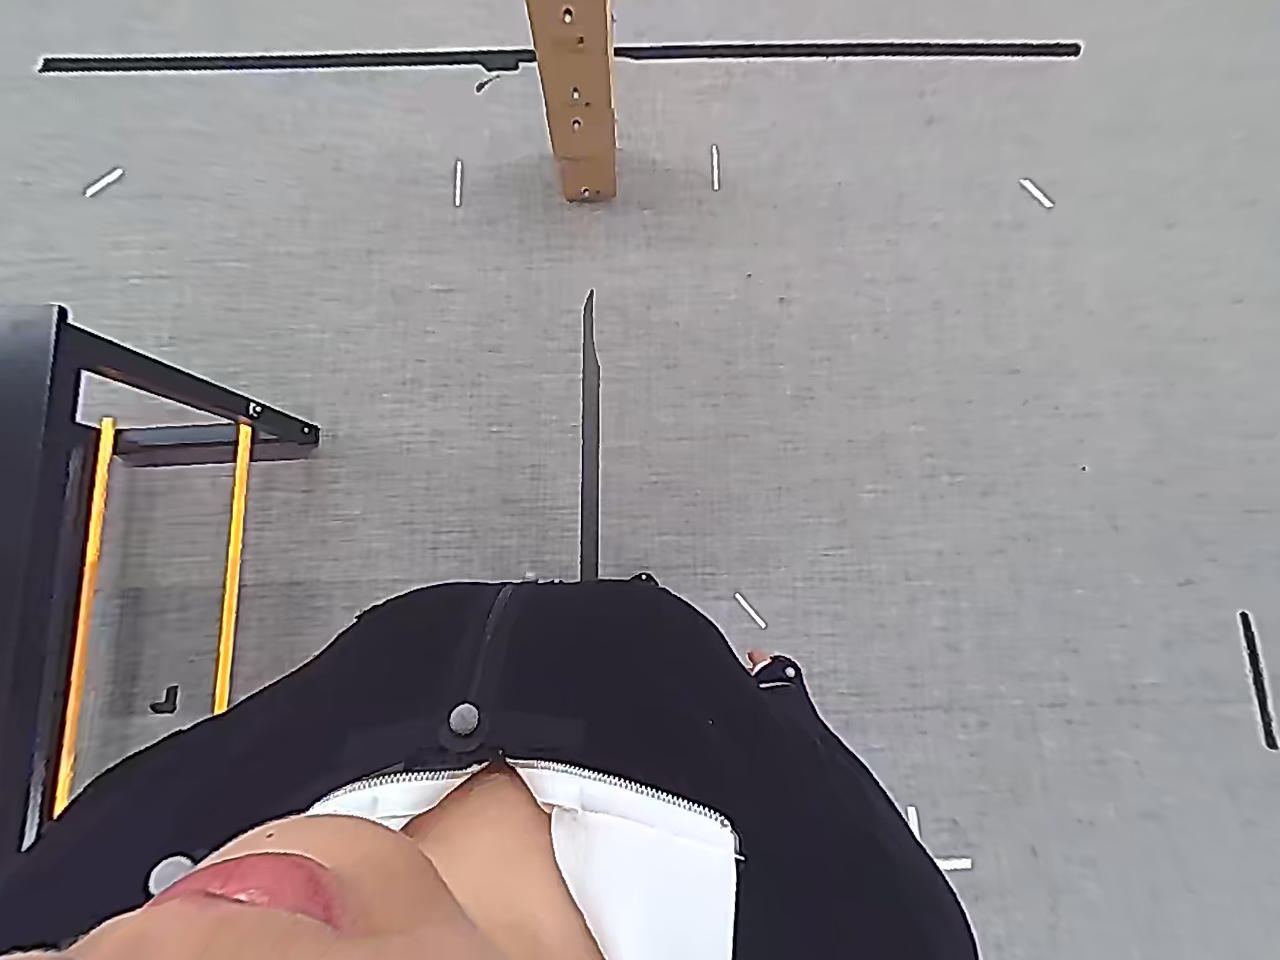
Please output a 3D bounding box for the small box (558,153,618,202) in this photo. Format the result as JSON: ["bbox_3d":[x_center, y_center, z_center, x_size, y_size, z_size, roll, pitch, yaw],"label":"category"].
[{"bbox_3d":[-0.157,-0.961,1.603,0.168,0.176,0.179,-6,83,-1],"label":"small box"}]

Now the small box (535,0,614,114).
[{"bbox_3d":[-0.149,-1.013,1.278,0.168,0.176,0.179,1,82,0],"label":"small box"}]

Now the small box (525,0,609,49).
[{"bbox_3d":[-0.150,-1.035,1.115,0.168,0.176,0.179,-1,82,0],"label":"small box"}]

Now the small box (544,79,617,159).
[{"bbox_3d":[-0.155,-0.986,1.440,0.179,0.176,0.168,-2,82,-1],"label":"small box"}]
